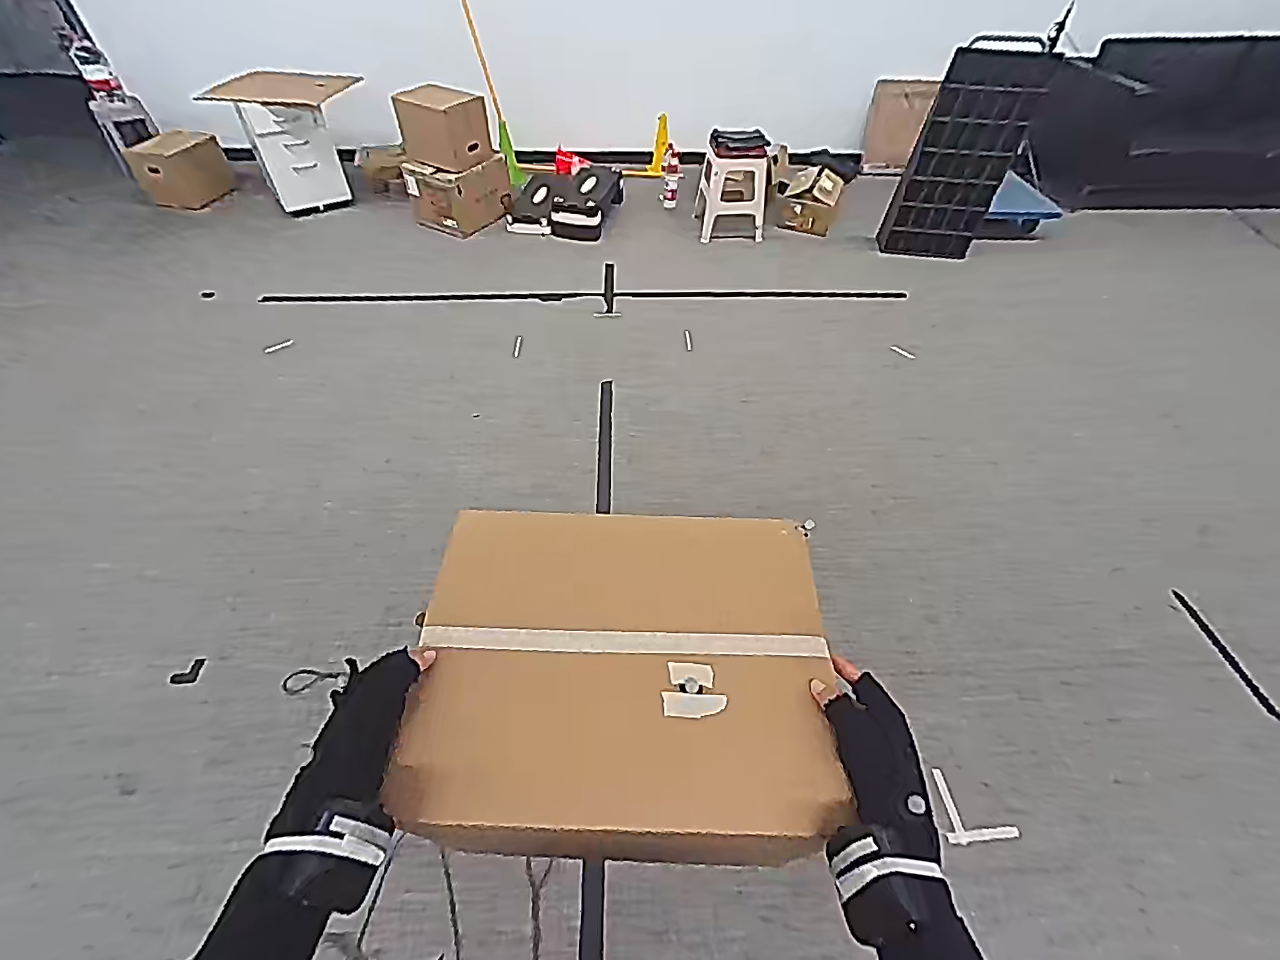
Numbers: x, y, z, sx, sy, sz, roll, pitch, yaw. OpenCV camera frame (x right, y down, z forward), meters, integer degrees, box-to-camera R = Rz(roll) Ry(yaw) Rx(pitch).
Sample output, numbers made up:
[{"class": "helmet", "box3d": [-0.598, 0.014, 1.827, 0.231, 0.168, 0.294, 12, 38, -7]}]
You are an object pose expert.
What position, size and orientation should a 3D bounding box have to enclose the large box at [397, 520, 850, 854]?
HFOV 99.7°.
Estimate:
[{"class": "large box", "box3d": [-0.016, 0.265, 0.674, 0.408, 0.320, 0.320, 2, 52, 0]}]
